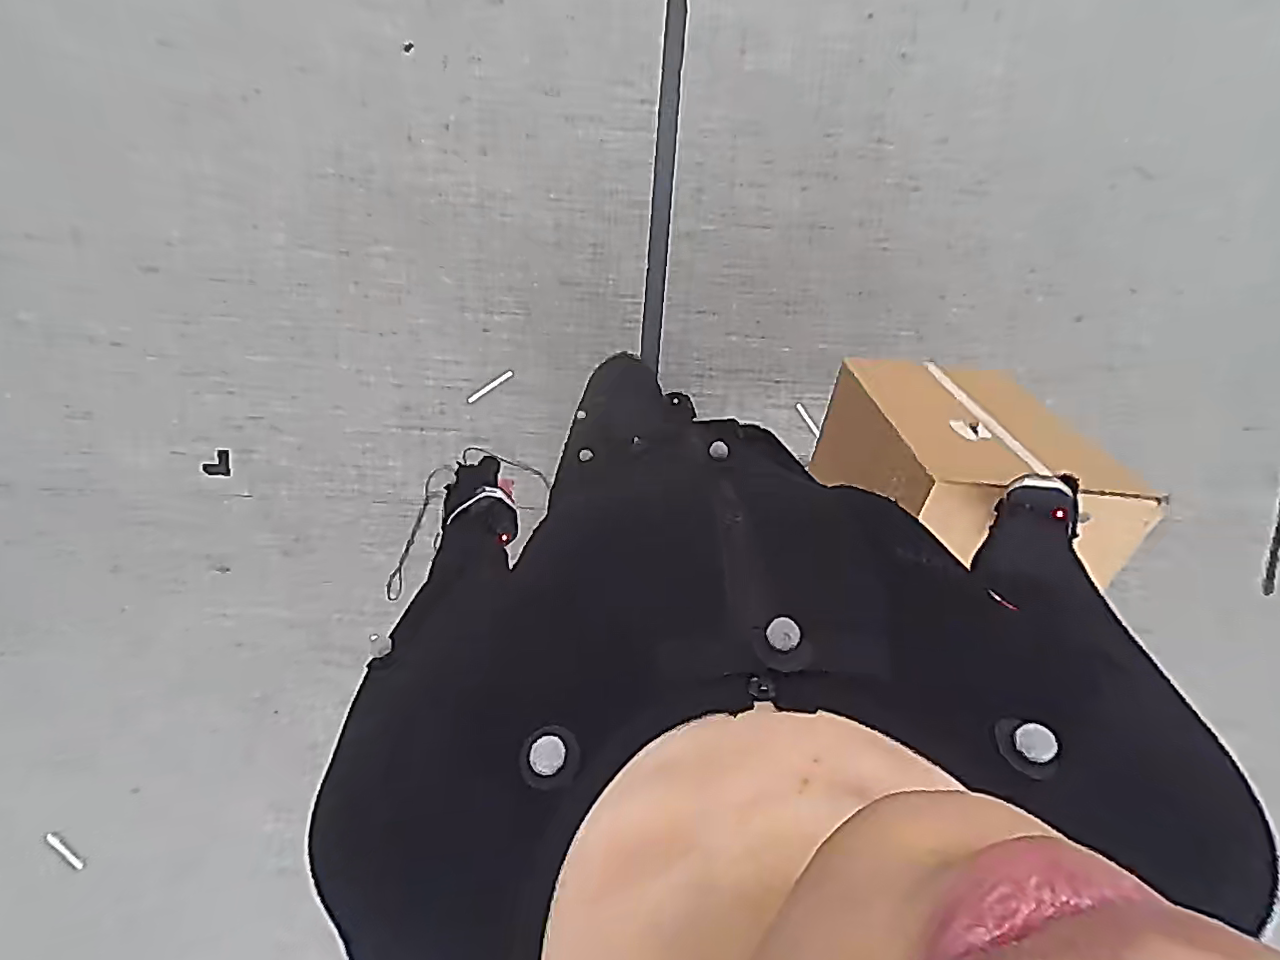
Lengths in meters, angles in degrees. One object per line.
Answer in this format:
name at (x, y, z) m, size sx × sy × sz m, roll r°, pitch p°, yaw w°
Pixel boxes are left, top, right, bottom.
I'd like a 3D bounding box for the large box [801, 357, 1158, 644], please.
large box at (0.514, 0.020, 0.945) m, size 0.320 × 0.408 × 0.320 m, roll 4°, pitch 126°, yaw -2°
